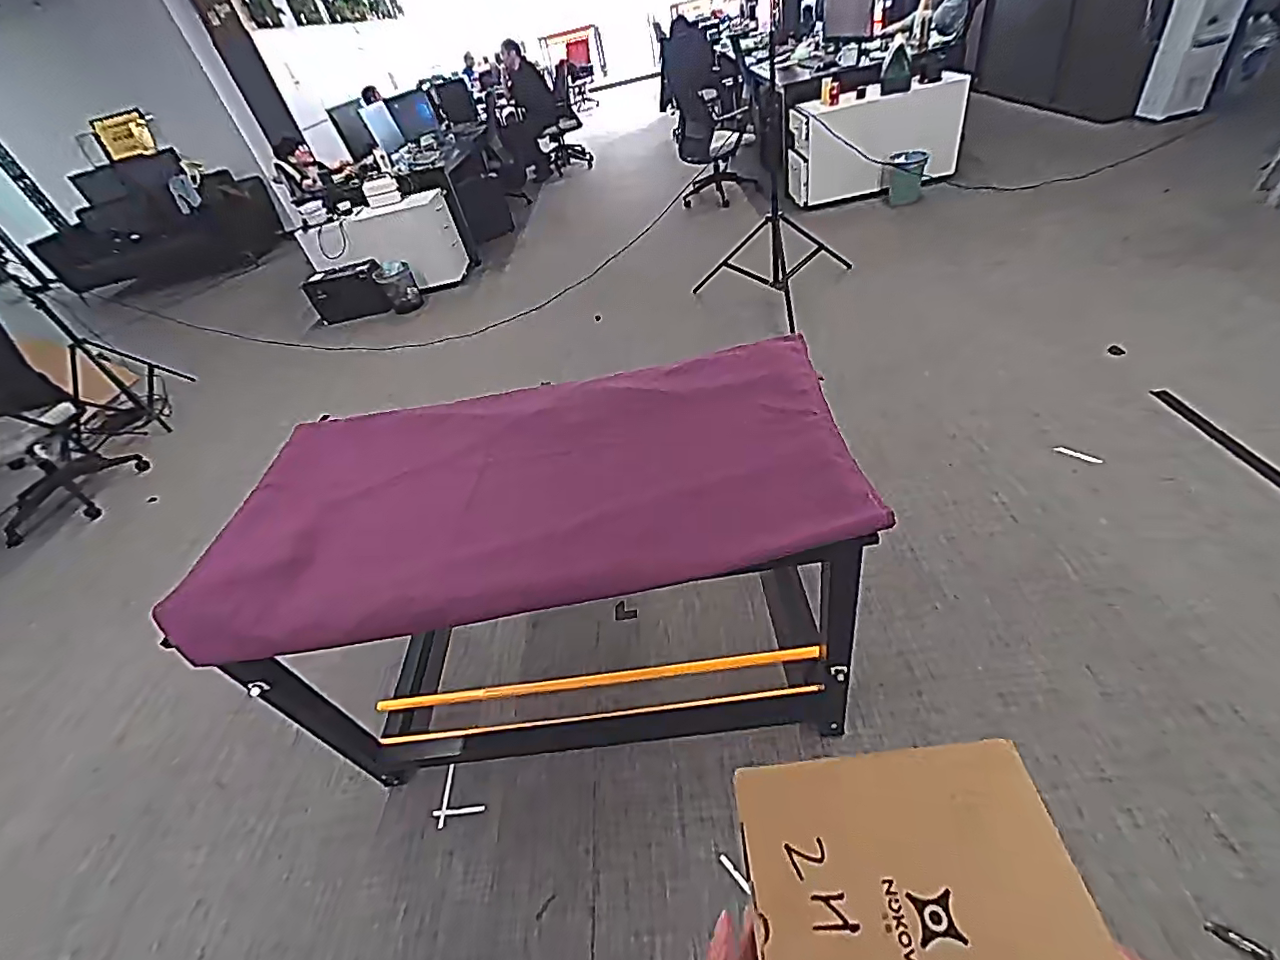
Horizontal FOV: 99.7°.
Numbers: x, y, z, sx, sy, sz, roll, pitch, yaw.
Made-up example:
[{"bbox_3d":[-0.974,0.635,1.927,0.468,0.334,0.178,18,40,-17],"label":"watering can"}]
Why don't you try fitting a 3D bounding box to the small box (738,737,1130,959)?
[{"bbox_3d":[0.166,0.284,0.341,0.179,0.176,0.168,-11,43,8],"label":"small box"}]
